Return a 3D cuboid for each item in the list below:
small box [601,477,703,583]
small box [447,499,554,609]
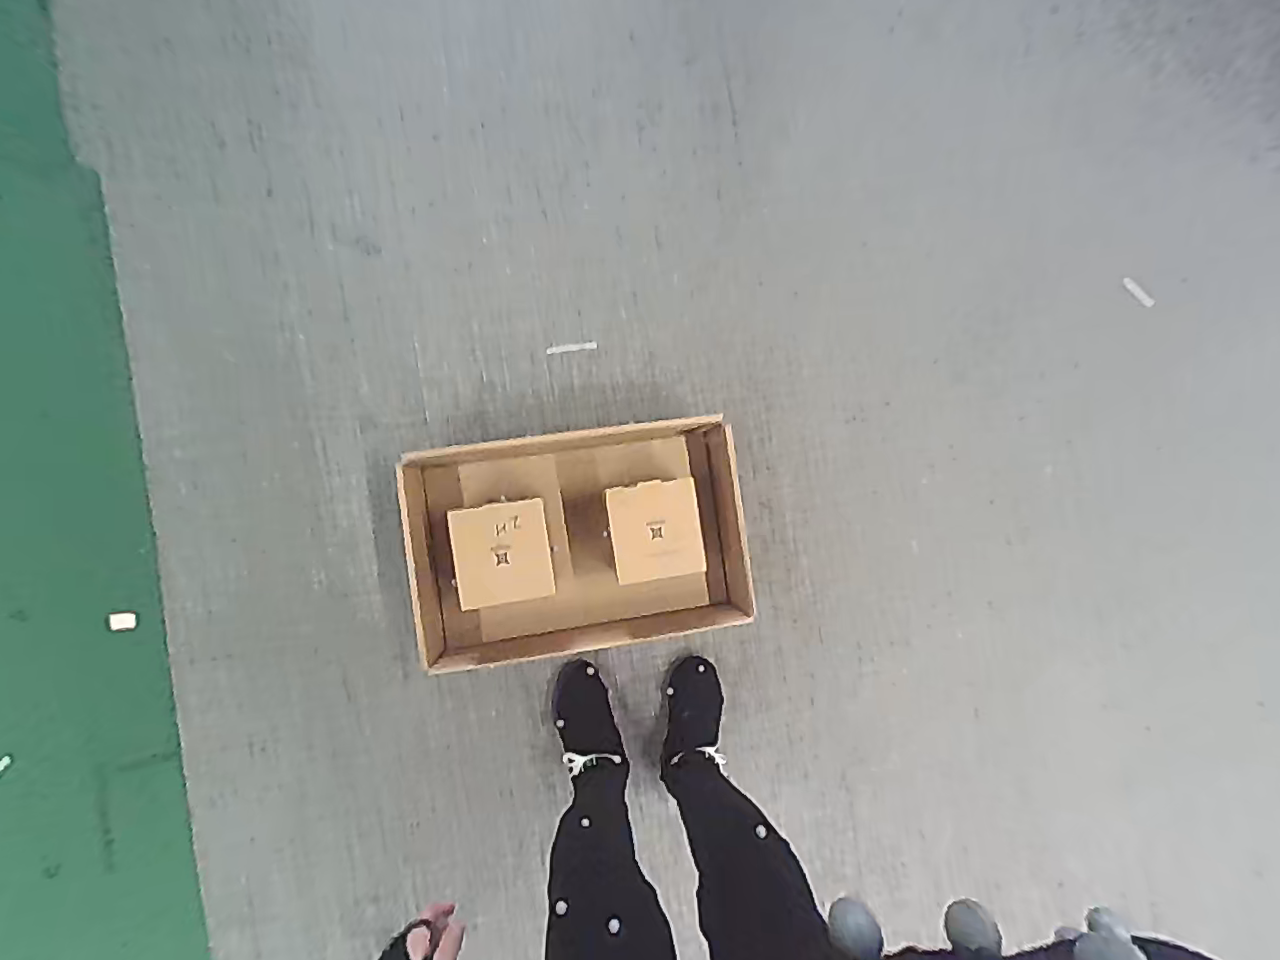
[{"bbox_3d":[0.016,0.093,1.057,0.168,0.176,0.179,-8,89,-6],"label":"small box"},{"bbox_3d":[-0.254,0.131,1.021,0.168,0.176,0.179,-8,88,-8],"label":"small box"}]
